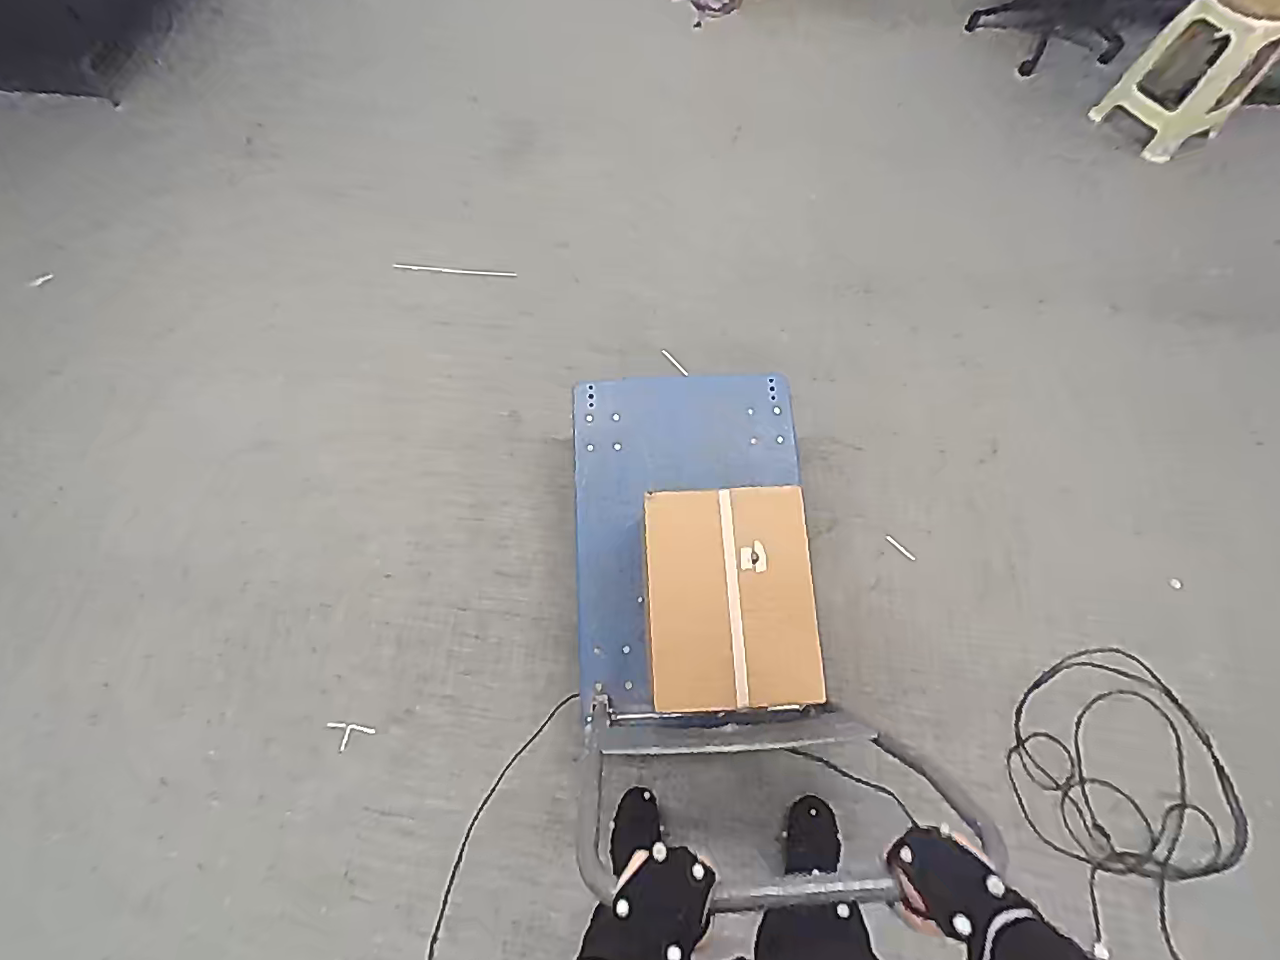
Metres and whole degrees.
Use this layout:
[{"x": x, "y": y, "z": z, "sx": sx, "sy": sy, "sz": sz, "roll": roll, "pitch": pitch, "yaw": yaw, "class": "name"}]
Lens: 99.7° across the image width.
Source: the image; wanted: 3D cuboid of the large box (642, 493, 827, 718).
[{"x": 0.172, "y": 0.263, "z": 1.161, "sx": 0.320, "sy": 0.320, "sz": 0.408, "roll": -3, "pitch": 76, "yaw": -3, "class": "large box"}]
